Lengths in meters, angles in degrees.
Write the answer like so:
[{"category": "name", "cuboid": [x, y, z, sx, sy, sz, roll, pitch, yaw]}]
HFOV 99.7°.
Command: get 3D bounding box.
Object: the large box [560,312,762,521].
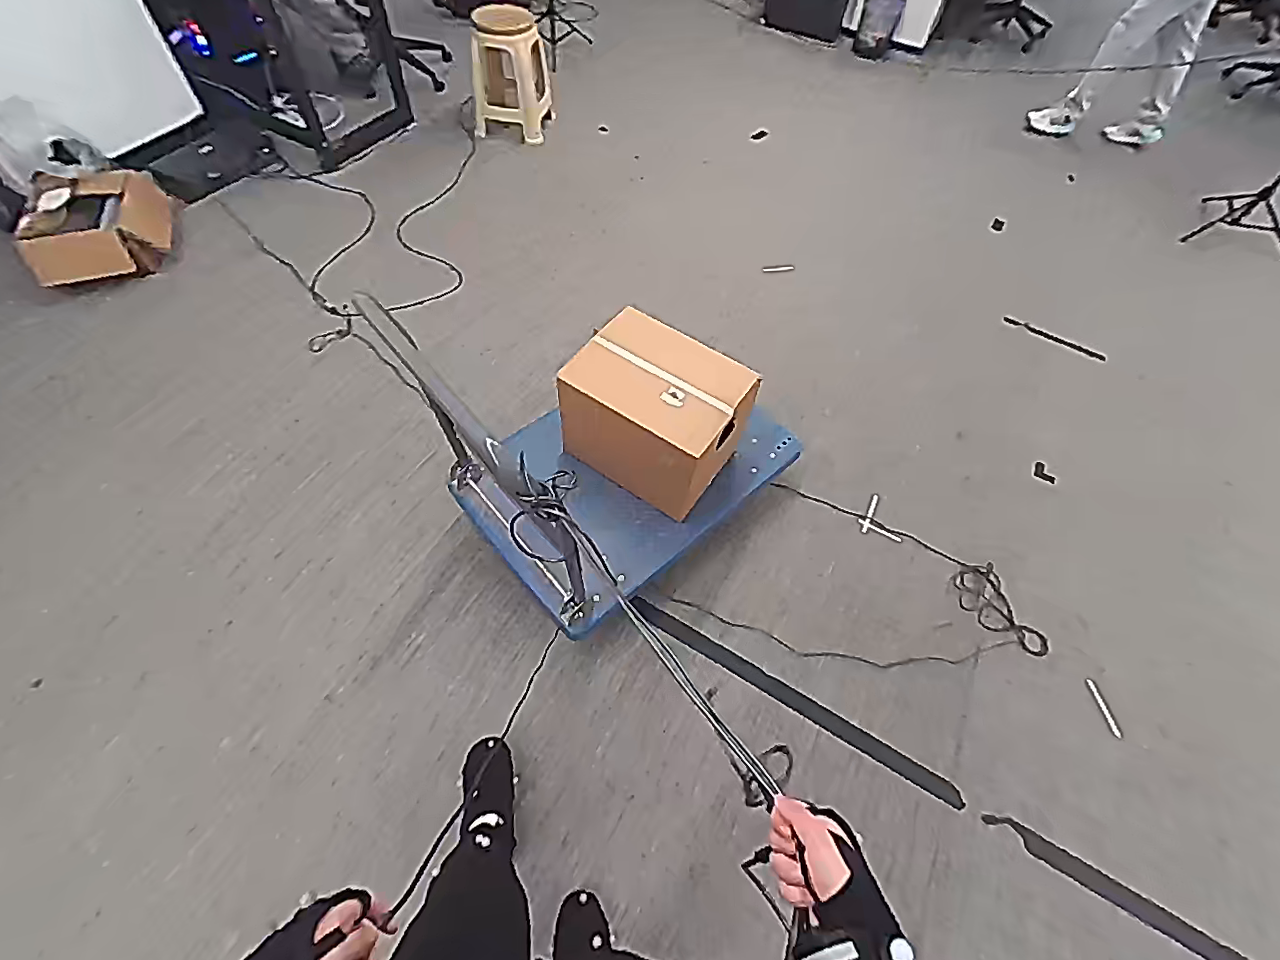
[{"category": "large box", "cuboid": [0.041, -0.165, 1.431, 0.408, 0.320, 0.320, 32, 62, 14]}]
